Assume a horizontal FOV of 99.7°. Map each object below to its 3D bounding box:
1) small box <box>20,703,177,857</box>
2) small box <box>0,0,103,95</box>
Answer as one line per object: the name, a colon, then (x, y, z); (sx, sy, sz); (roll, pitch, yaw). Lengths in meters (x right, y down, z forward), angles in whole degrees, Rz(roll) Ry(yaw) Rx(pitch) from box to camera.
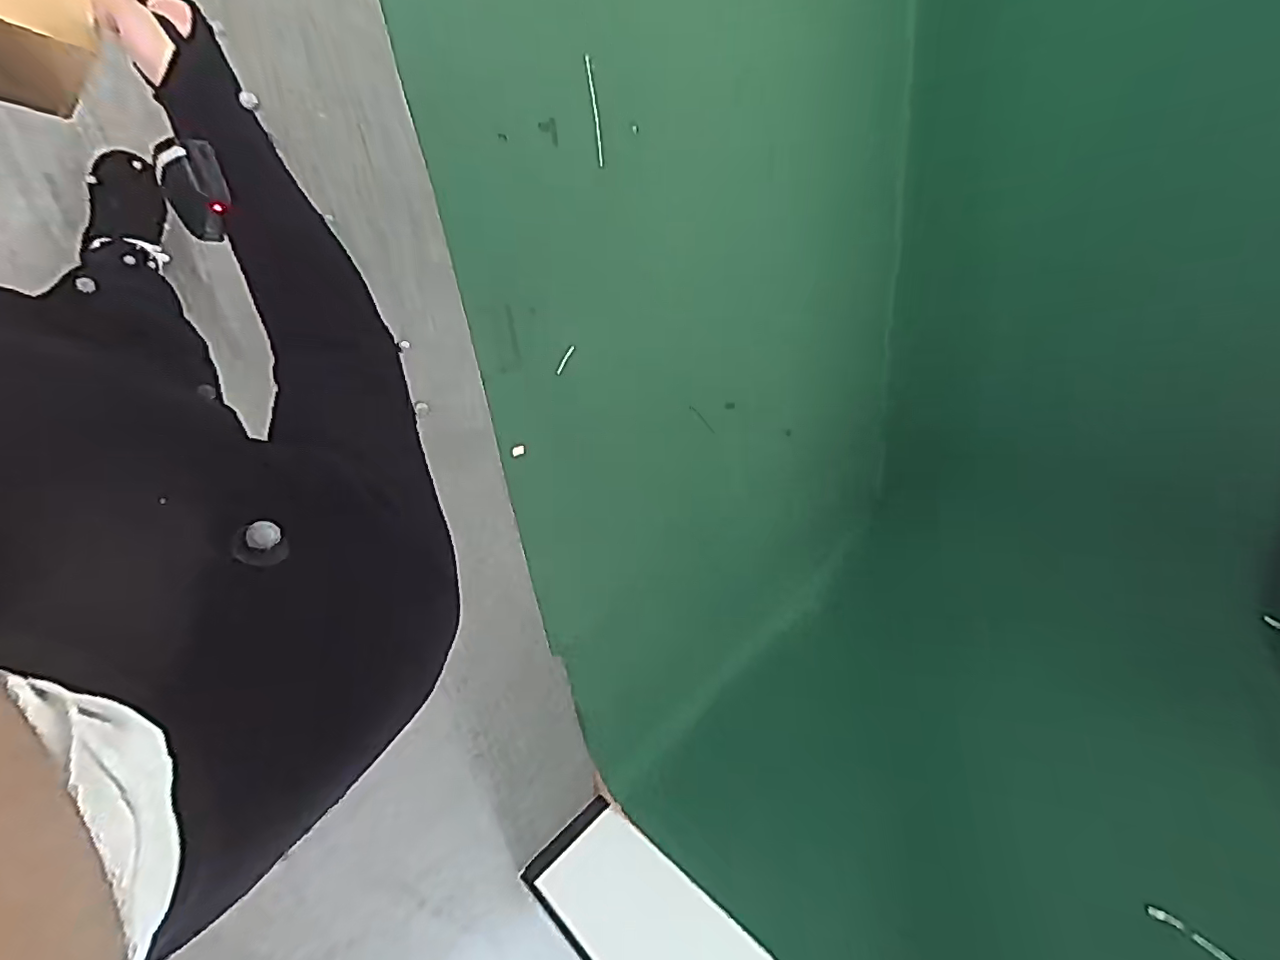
small box: (-1.093, 0.596, 1.101); (0.179, 0.176, 0.168); (-27, 120, -36)
small box: (-0.574, -0.449, 0.433); (0.179, 0.176, 0.168); (-10, 102, -49)
